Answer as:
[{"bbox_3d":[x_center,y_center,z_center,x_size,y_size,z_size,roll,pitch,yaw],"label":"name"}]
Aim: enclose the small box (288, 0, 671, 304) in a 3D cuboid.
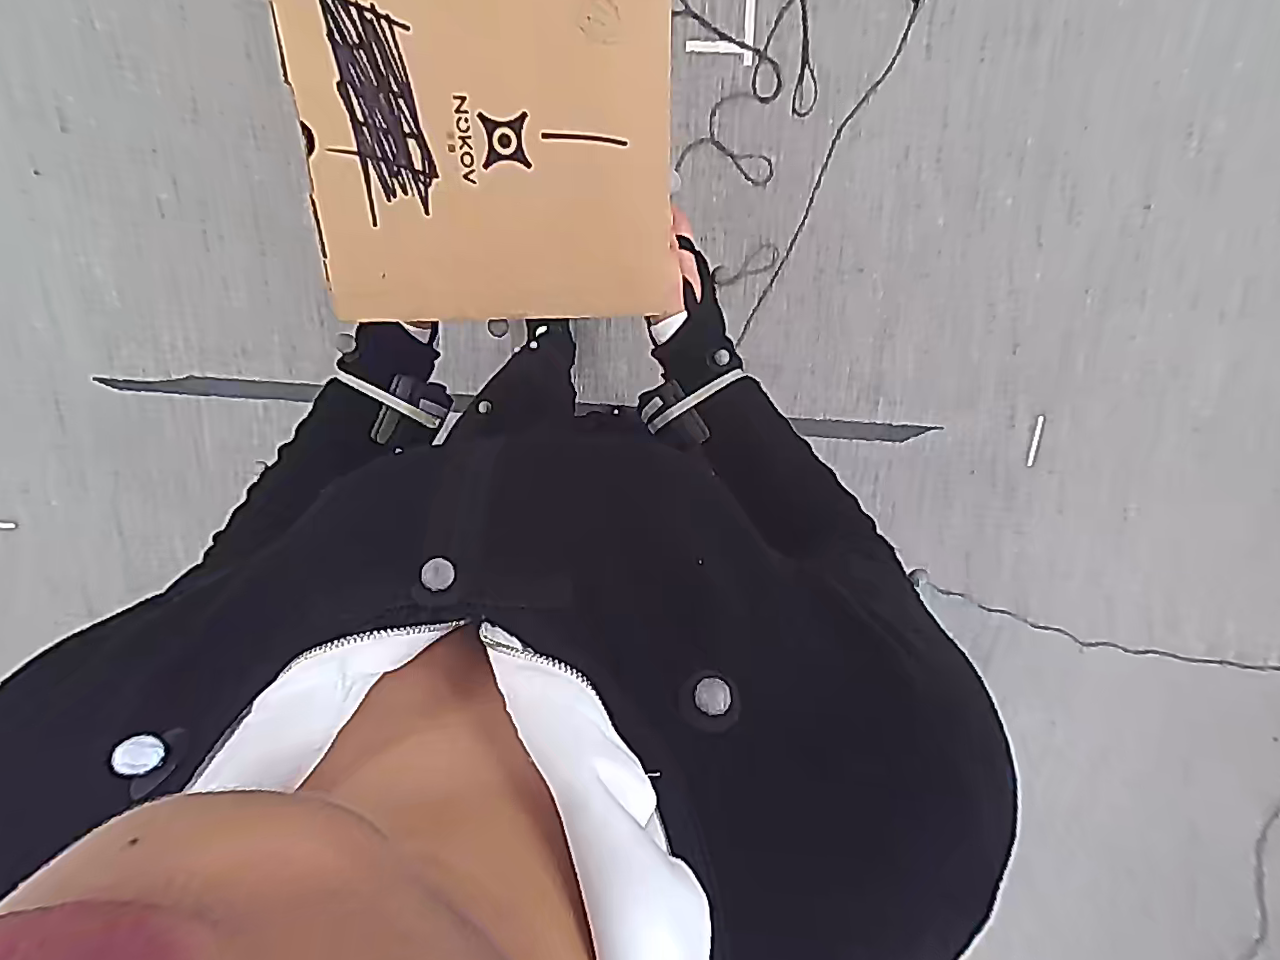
[{"bbox_3d":[-0.075,-0.200,0.338,0.179,0.176,0.168,-2,112,-3],"label":"small box"}]
